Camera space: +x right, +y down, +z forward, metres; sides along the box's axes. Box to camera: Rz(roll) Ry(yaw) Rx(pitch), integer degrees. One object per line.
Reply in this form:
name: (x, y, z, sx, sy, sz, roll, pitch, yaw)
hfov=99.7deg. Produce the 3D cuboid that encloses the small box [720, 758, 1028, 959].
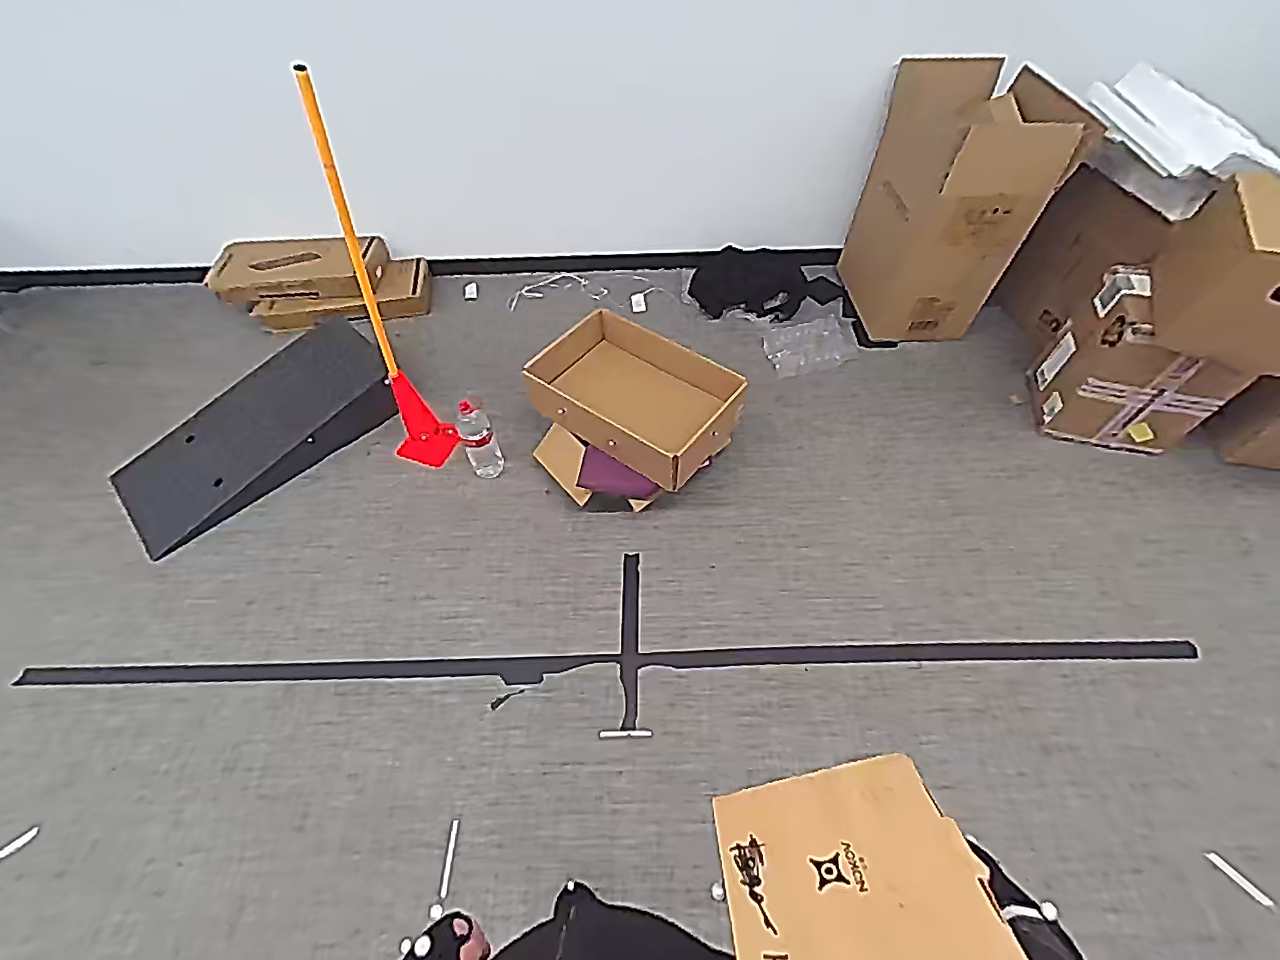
small box: (0.176, 0.365, 0.431, 0.179, 0.176, 0.168, -16, 18, 5)
